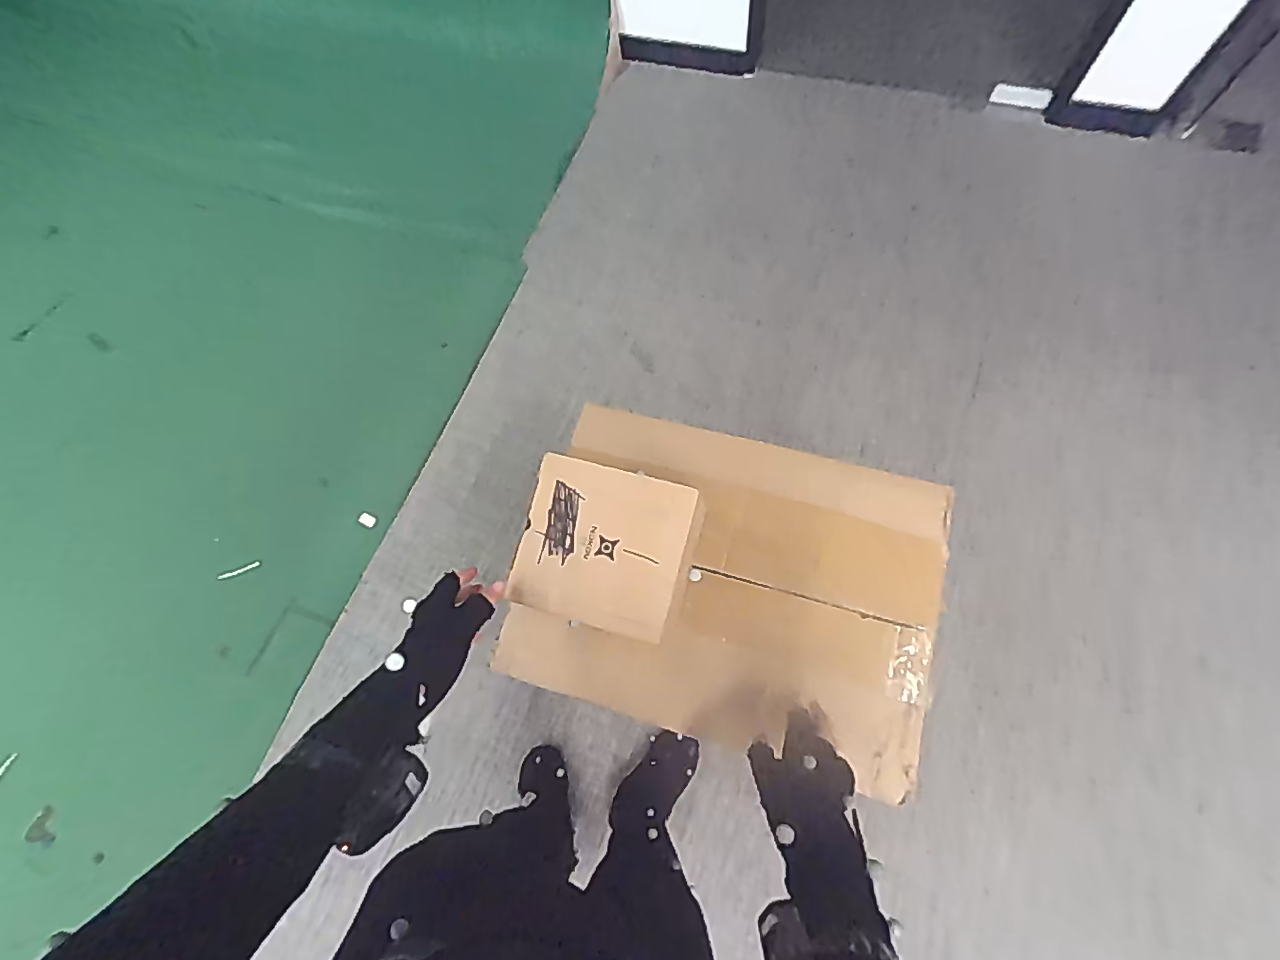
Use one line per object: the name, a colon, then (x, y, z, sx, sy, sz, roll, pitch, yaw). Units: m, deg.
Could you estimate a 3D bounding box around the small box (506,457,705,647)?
small box: (-0.028, 0.086, 0.644, 0.179, 0.176, 0.168, 14, 83, 11)
